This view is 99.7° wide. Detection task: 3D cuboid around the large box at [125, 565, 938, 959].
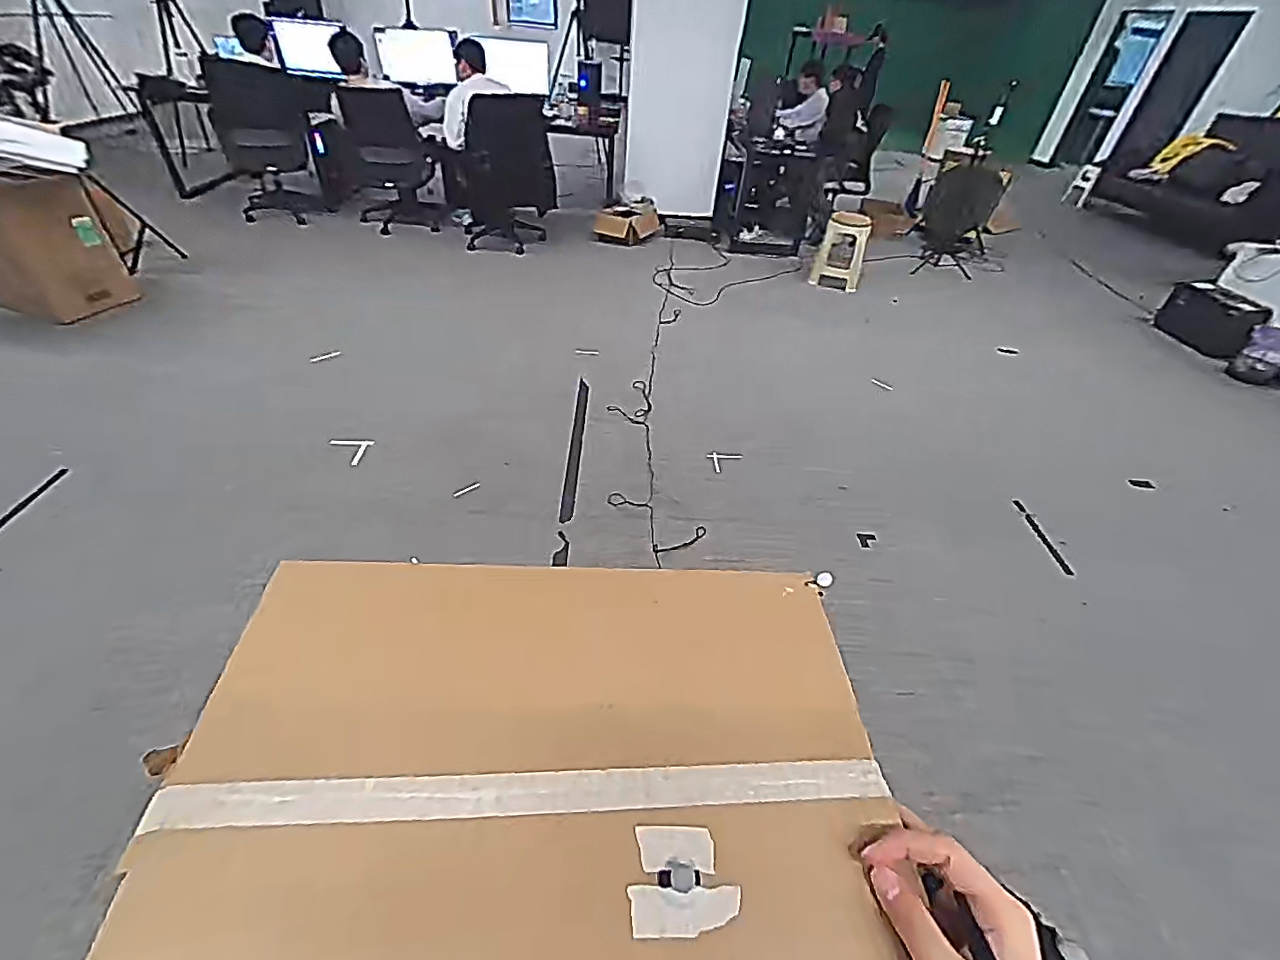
[{"bbox_3d":[-0.066,0.286,0.423,0.408,0.320,0.320,4,46,-9],"label":"large box"}]
